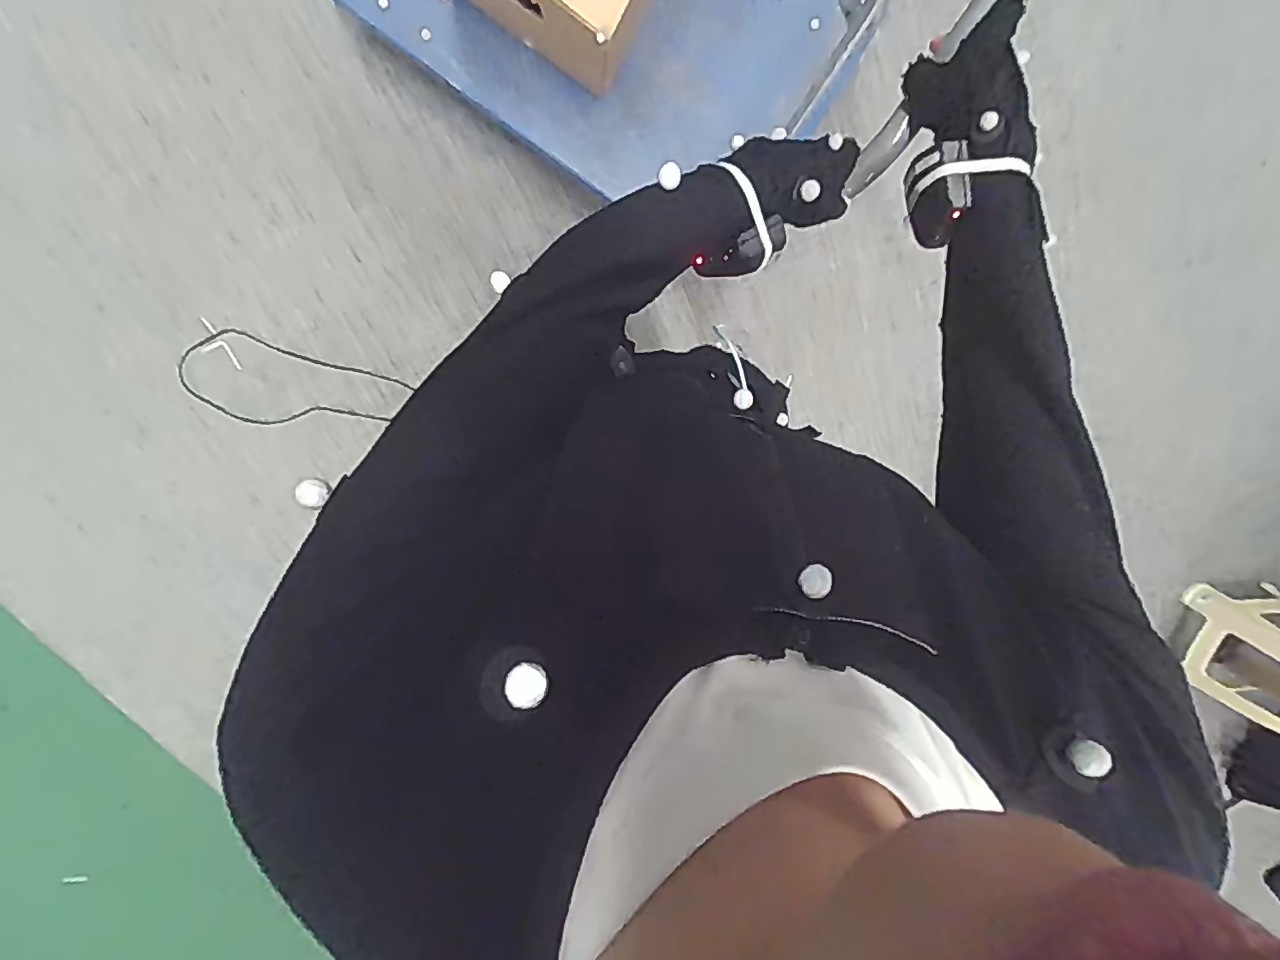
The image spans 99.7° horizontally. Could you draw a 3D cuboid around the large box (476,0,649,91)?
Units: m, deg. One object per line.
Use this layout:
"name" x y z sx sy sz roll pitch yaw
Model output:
"large box" -0.085 -0.903 0.793 0.320 0.320 0.408 28 108 -14
